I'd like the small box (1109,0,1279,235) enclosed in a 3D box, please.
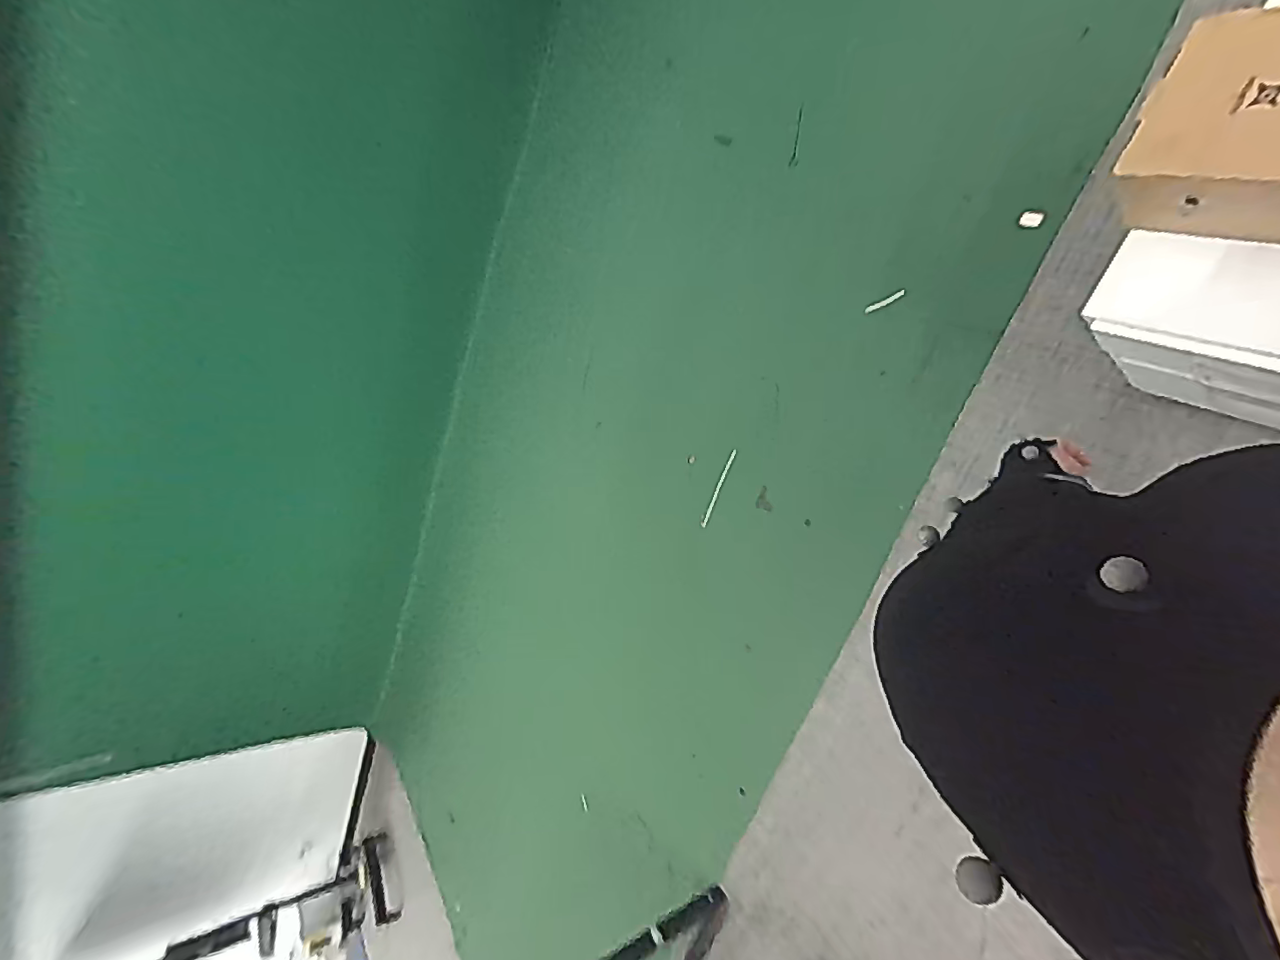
[{"bbox_3d":[0.683,-0.394,0.605,0.179,0.176,0.168,36,112,43],"label":"small box"}]
